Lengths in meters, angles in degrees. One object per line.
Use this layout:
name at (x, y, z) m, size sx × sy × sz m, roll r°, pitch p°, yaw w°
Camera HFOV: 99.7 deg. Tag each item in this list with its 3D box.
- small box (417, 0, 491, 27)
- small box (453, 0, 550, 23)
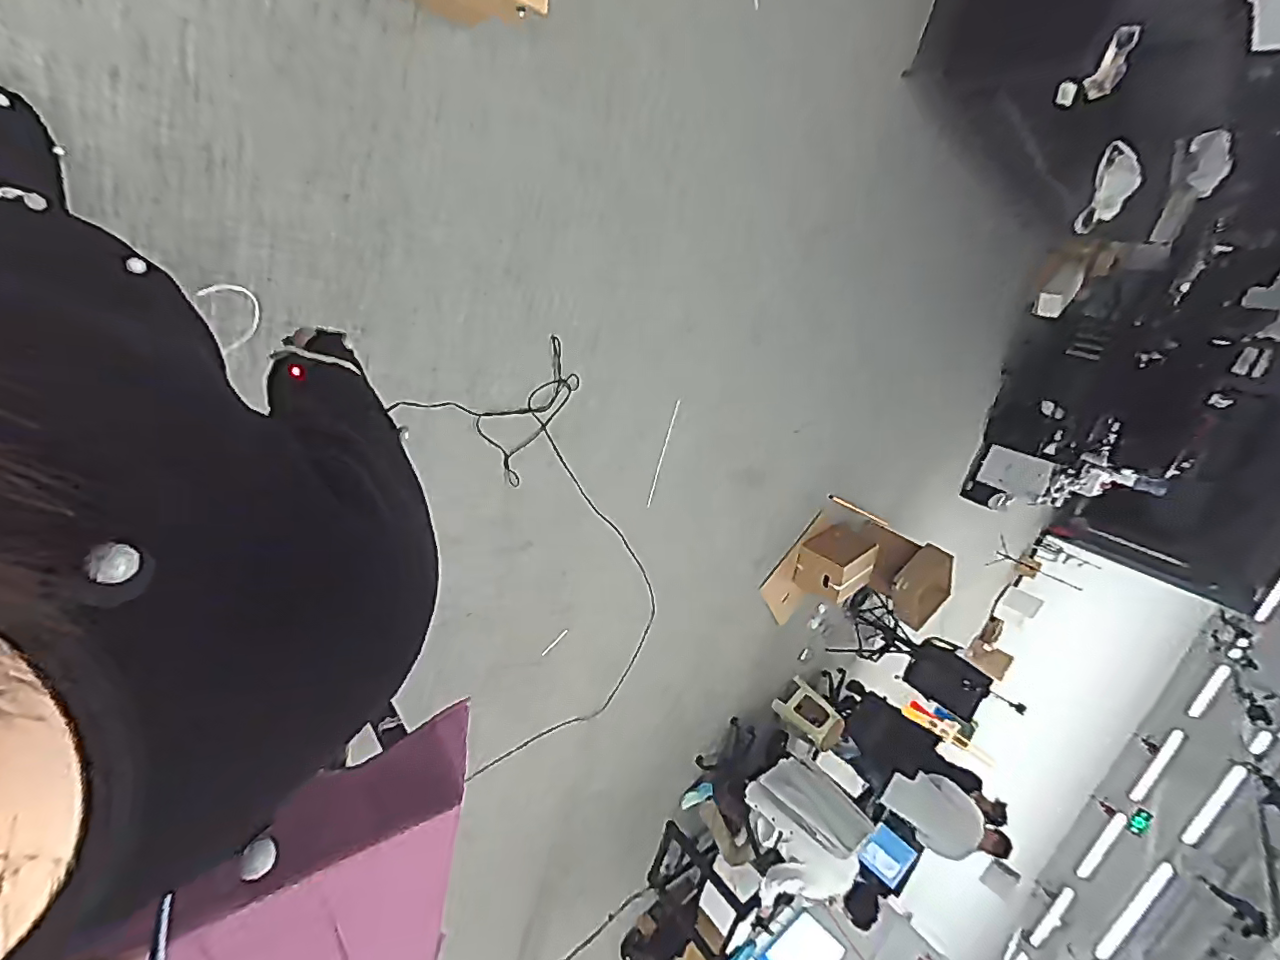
small box at (-0.379, -1.071, 1.108) m, size 0.179 × 0.176 × 0.168 m, roll -4°, pitch 117°, yaw -43°
small box at (-0.278, -0.992, 1.007) m, size 0.179 × 0.176 × 0.168 m, roll -10°, pitch 121°, yaw -41°
